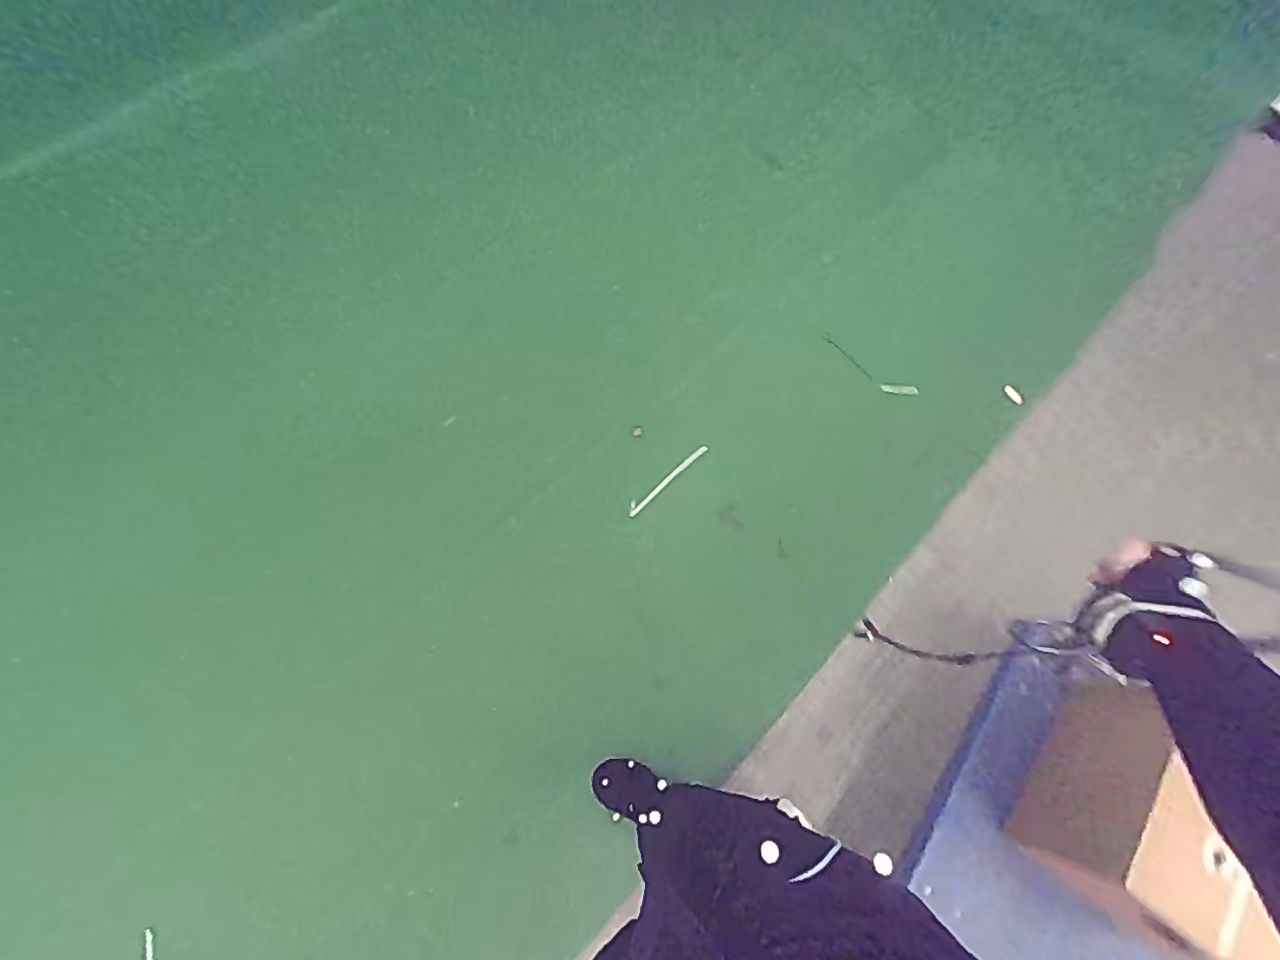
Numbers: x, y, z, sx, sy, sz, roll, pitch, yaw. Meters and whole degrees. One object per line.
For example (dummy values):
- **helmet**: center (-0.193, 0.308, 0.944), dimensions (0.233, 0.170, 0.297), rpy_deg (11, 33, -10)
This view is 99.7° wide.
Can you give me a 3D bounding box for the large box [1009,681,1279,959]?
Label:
- **large box**: center (1.028, 0.658, 1.050), dimensions (0.320, 0.320, 0.408), rpy_deg (36, 74, 10)
